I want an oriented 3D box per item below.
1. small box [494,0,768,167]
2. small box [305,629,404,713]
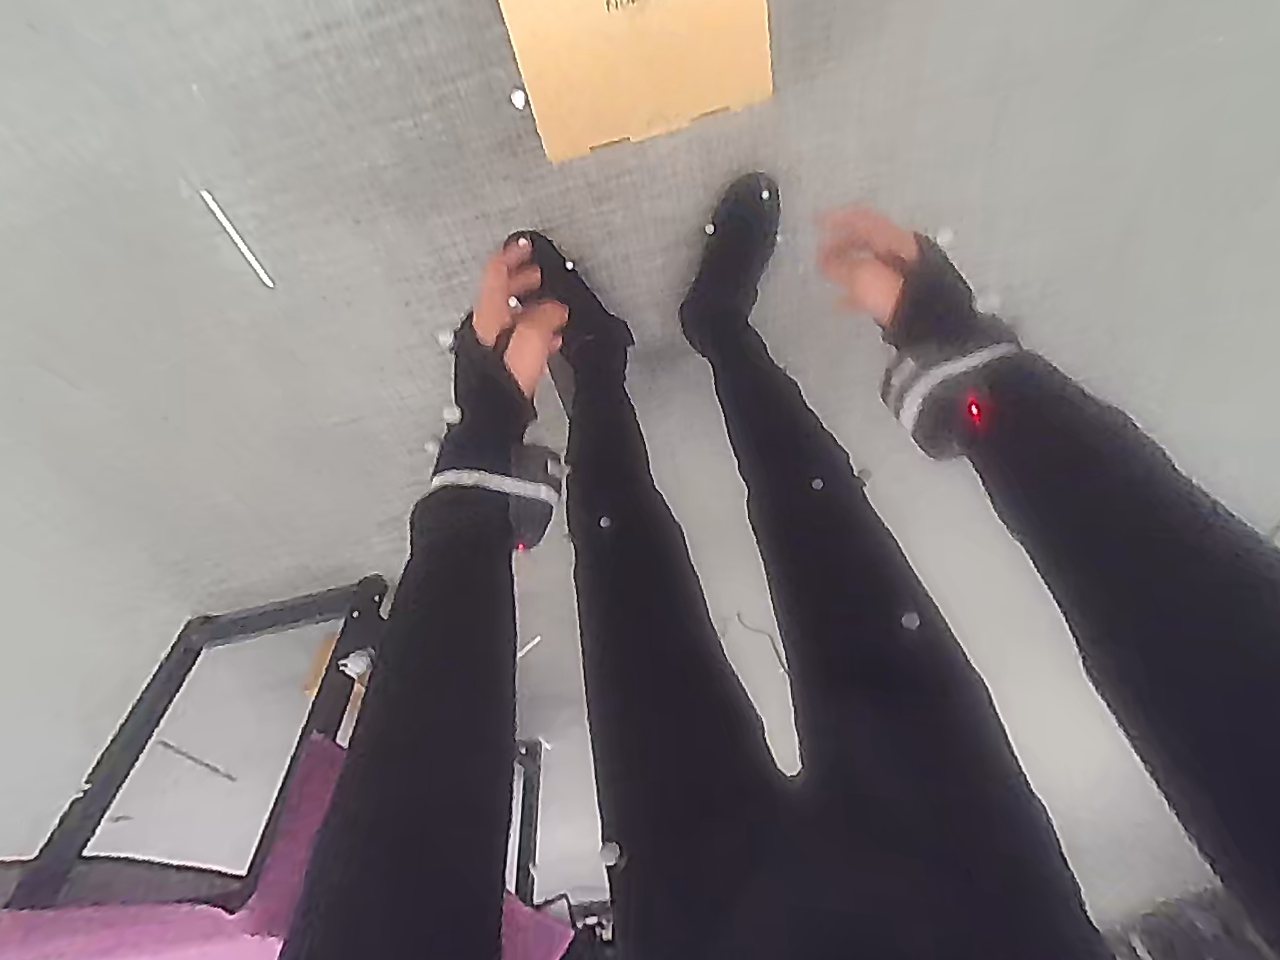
[{"bbox_3d":[-0.017,-0.356,0.385,0.168,0.176,0.179,-14,132,5],"label":"small box"},{"bbox_3d":[-0.821,0.549,1.576,0.168,0.176,0.179,-12,133,6],"label":"small box"}]
